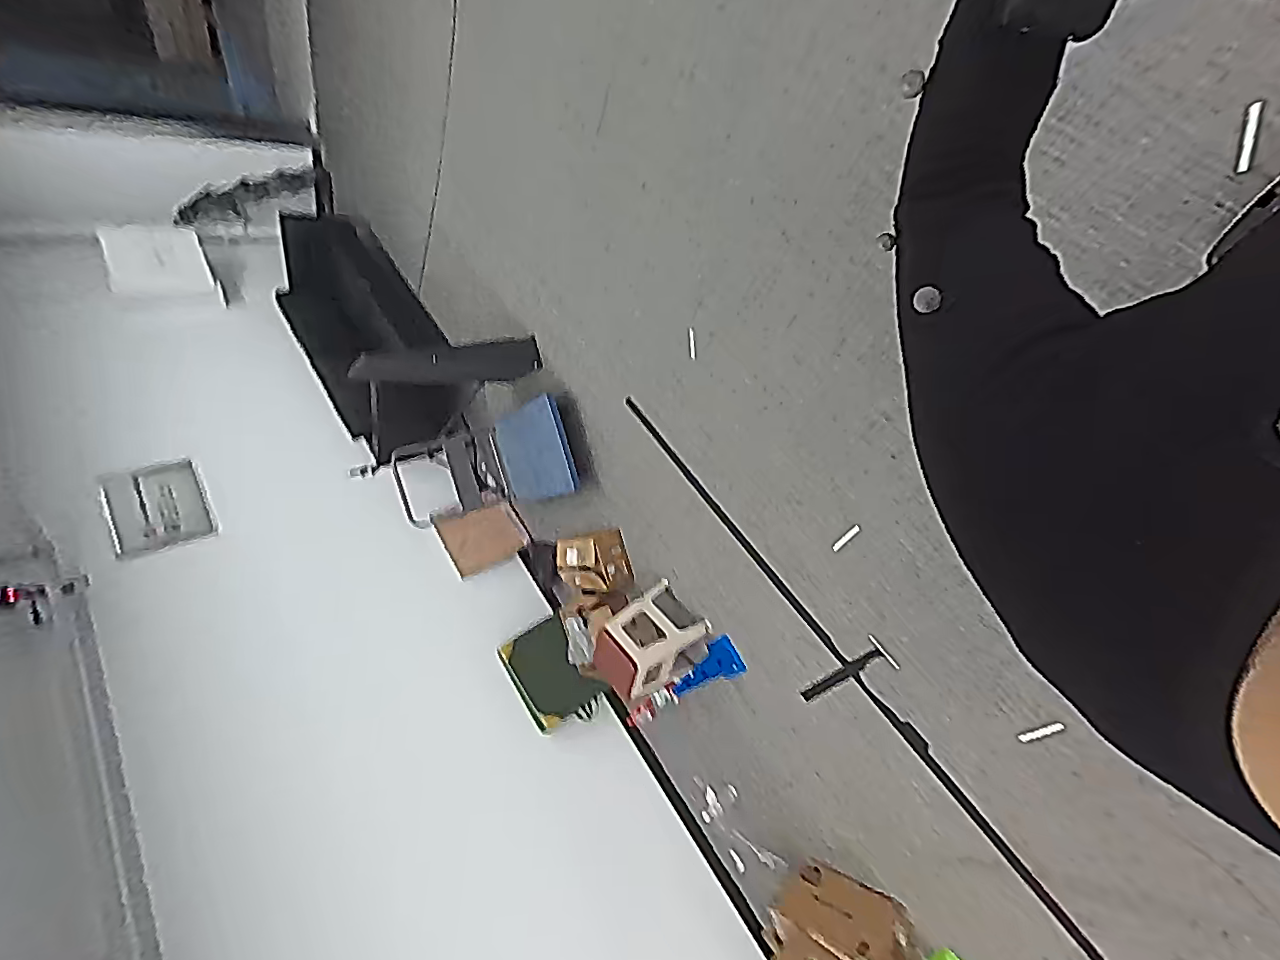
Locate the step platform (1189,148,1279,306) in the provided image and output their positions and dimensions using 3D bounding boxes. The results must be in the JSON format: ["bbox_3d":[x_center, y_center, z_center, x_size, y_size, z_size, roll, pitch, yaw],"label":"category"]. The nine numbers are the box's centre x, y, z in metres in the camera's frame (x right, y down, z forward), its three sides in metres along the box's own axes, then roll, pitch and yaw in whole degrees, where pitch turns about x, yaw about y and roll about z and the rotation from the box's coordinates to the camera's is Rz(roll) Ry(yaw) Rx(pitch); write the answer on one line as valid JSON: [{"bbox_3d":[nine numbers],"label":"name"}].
[{"bbox_3d":[1.328,-0.325,0.863,0.684,0.204,0.286,52,140,25],"label":"step platform"}]
